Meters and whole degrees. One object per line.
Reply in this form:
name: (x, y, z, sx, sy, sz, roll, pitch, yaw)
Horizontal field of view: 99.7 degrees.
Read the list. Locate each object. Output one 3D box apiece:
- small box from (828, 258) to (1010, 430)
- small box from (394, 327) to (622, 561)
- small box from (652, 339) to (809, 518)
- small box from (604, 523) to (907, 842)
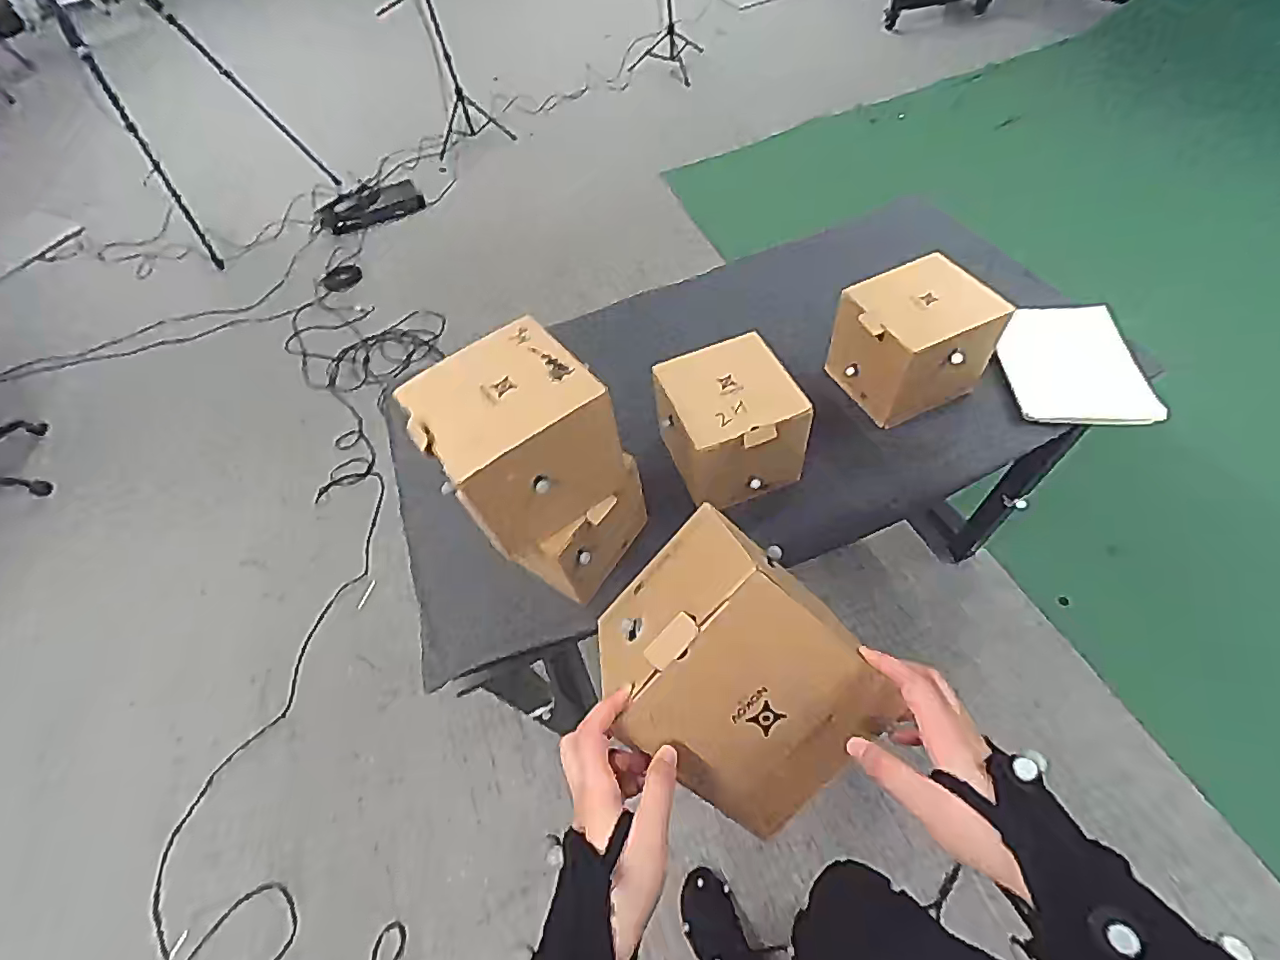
small box: (0.426, -0.212, 0.862, 0.179, 0.176, 0.168, -24, 55, -7)
small box: (-0.141, -0.036, 0.631, 0.179, 0.176, 0.168, -36, 58, -14)
small box: (0.129, -0.074, 0.814, 0.168, 0.176, 0.179, -21, 55, -4)
small box: (0.082, 0.157, 0.481, 0.179, 0.176, 0.168, 40, 97, -13)
